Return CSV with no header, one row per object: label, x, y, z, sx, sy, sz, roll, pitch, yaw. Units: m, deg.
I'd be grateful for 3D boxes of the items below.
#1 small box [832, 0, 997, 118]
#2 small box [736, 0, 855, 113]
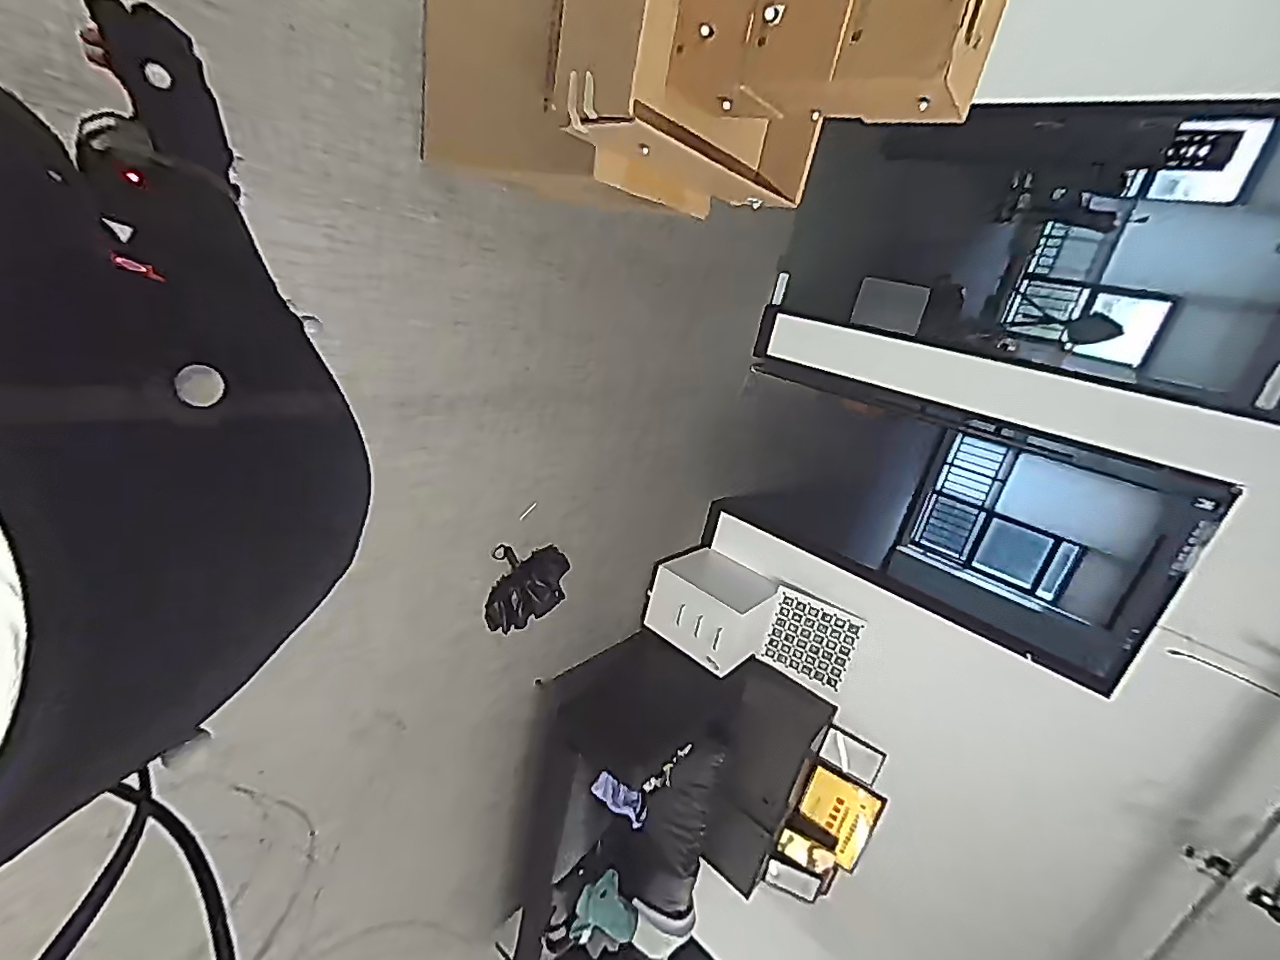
small box,0.420,-0.684,0.837,0.179,0.176,0.168,-15,124,-51
small box,0.290,-0.745,0.917,0.179,0.176,0.168,-18,126,-47
